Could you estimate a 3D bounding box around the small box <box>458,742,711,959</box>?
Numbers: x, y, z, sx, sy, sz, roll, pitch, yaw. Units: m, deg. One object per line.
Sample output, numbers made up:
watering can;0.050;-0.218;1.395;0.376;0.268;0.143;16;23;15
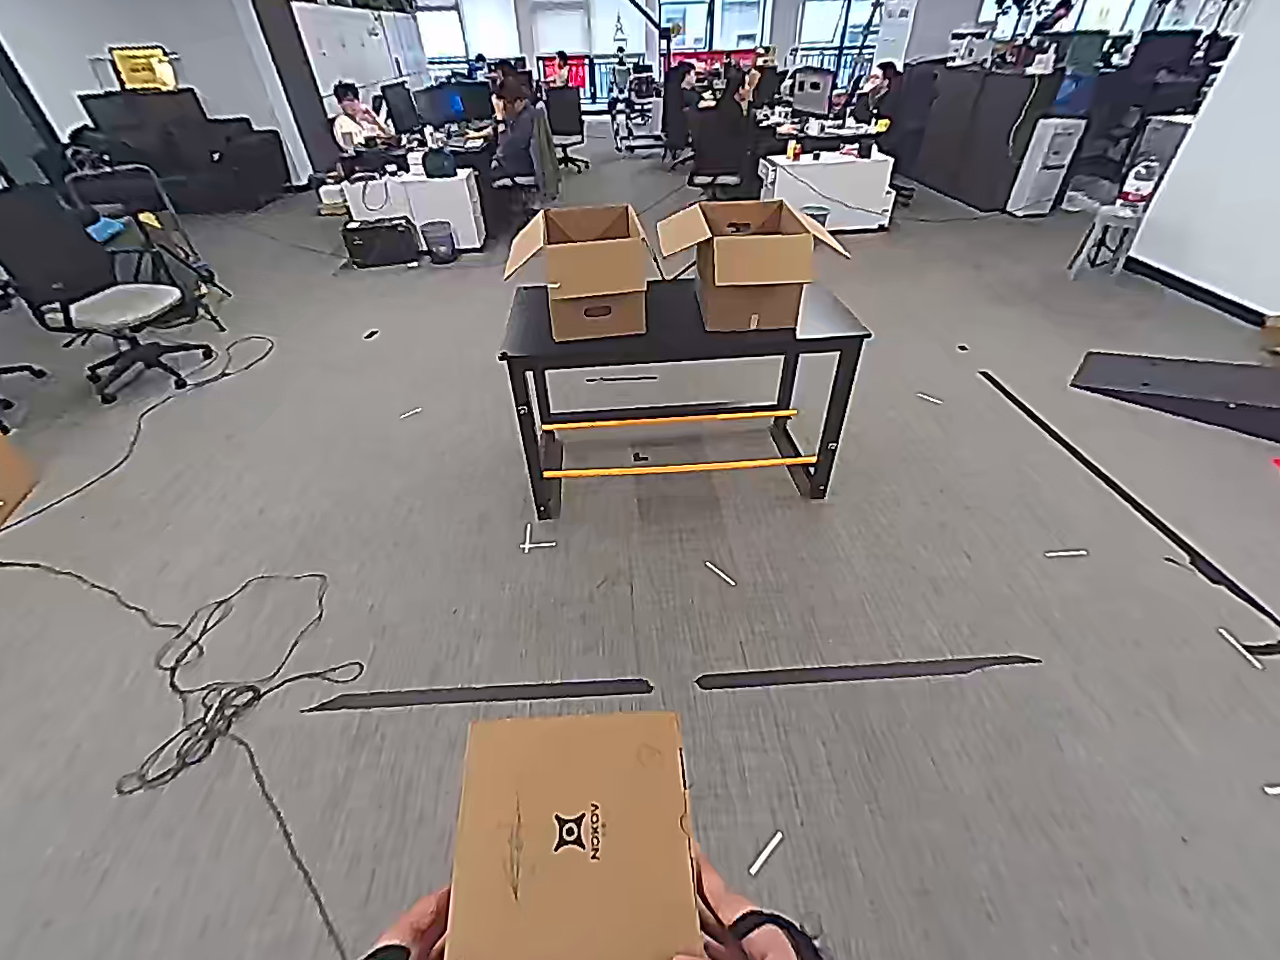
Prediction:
small box;-0.045;0.336;0.467;0.179;0.176;0.168;-3;53;-4
